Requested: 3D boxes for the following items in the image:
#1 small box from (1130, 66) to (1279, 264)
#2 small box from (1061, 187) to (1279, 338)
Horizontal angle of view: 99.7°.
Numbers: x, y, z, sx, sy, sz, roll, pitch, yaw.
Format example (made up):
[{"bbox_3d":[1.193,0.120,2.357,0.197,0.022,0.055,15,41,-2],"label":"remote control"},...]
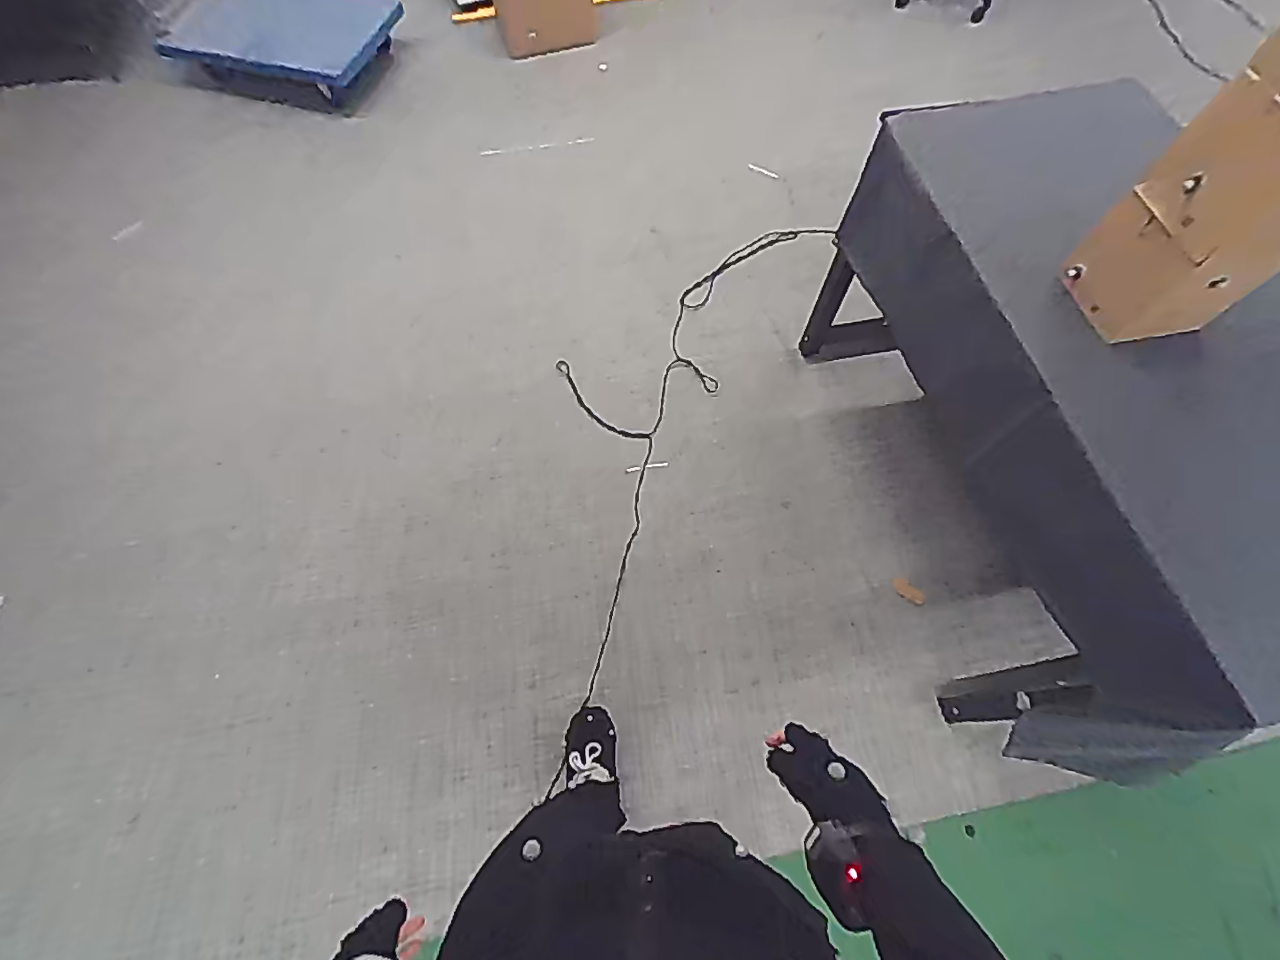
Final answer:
[{"bbox_3d":[0.825,-0.414,0.712,0.179,0.176,0.168,-10,66,-5],"label":"small box"},{"bbox_3d":[0.825,-0.346,0.859,0.179,0.176,0.168,-10,65,-6],"label":"small box"}]
